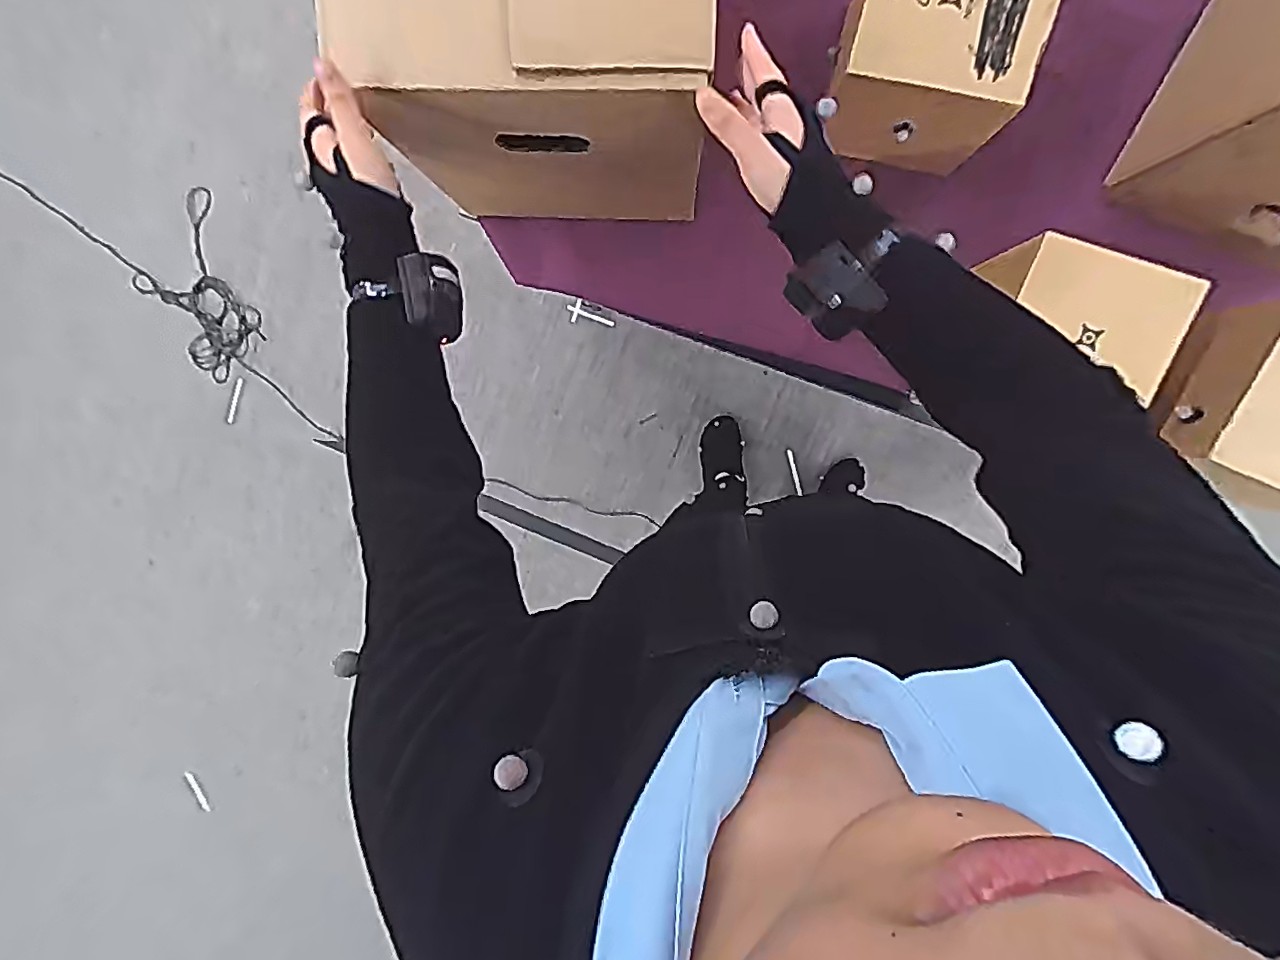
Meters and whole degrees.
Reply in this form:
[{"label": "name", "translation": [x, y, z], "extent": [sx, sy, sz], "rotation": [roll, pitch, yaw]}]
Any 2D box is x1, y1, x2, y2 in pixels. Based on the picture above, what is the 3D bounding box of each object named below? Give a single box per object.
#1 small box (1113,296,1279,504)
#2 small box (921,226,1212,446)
[{"label": "small box", "translation": [0.680, -0.078, 0.598], "extent": [0.168, 0.176, 0.179], "rotation": [24, 98, 2]}, {"label": "small box", "translation": [0.454, -0.152, 0.614], "extent": [0.168, 0.176, 0.179], "rotation": [19, 100, 3]}]
